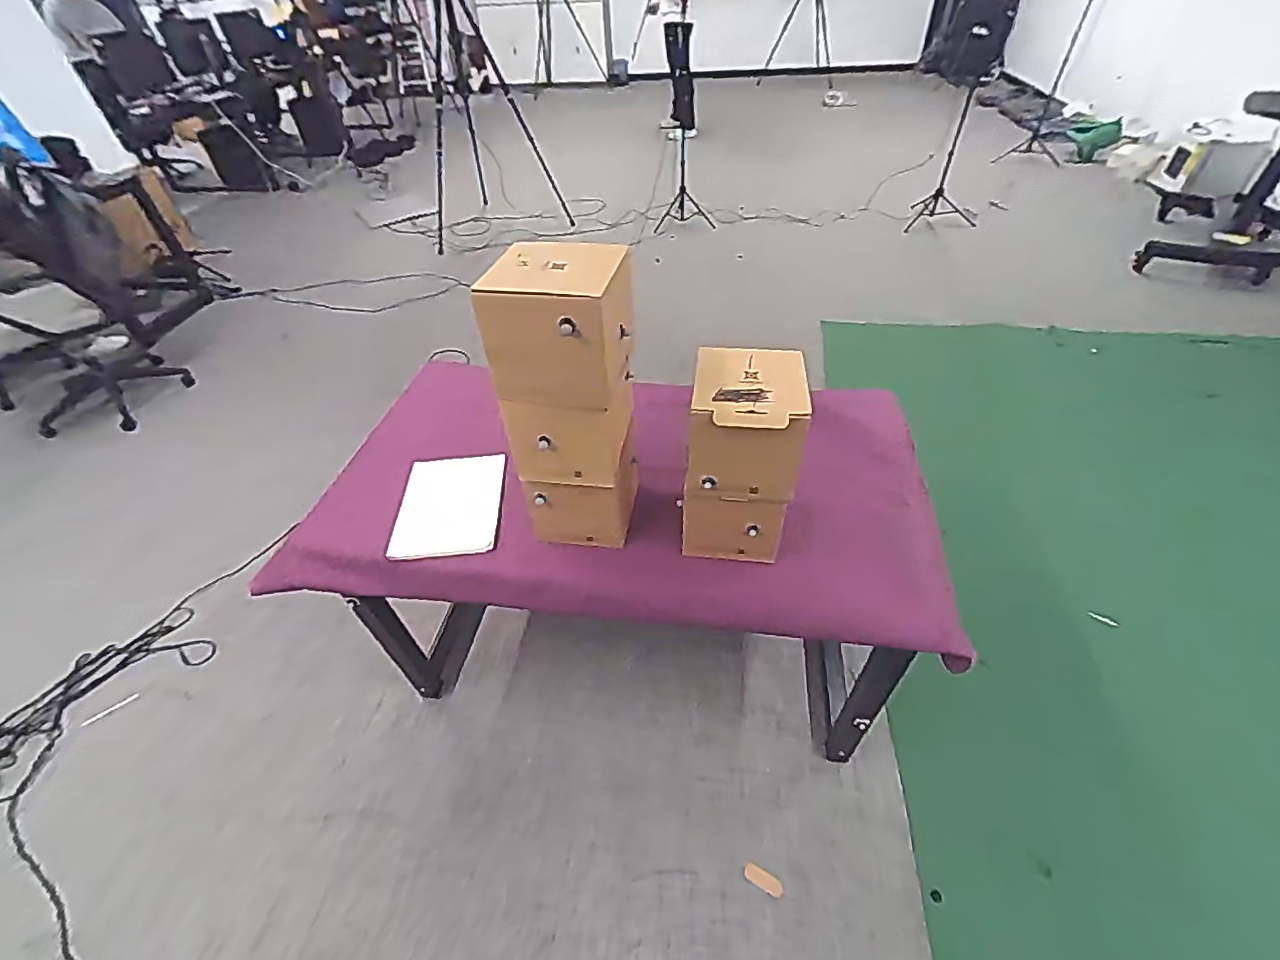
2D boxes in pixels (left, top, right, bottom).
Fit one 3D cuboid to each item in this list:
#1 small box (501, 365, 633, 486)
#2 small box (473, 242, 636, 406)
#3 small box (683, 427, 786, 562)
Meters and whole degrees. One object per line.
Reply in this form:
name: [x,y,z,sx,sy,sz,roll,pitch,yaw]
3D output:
small box: [-0.106,-0.108,0.894,0.168,0.176,0.179,5,44,9]
small box: [-0.106,-0.222,0.774,0.179,0.176,0.168,7,44,10]
small box: [0.168,0.027,0.974,0.168,0.176,0.179,6,44,8]
